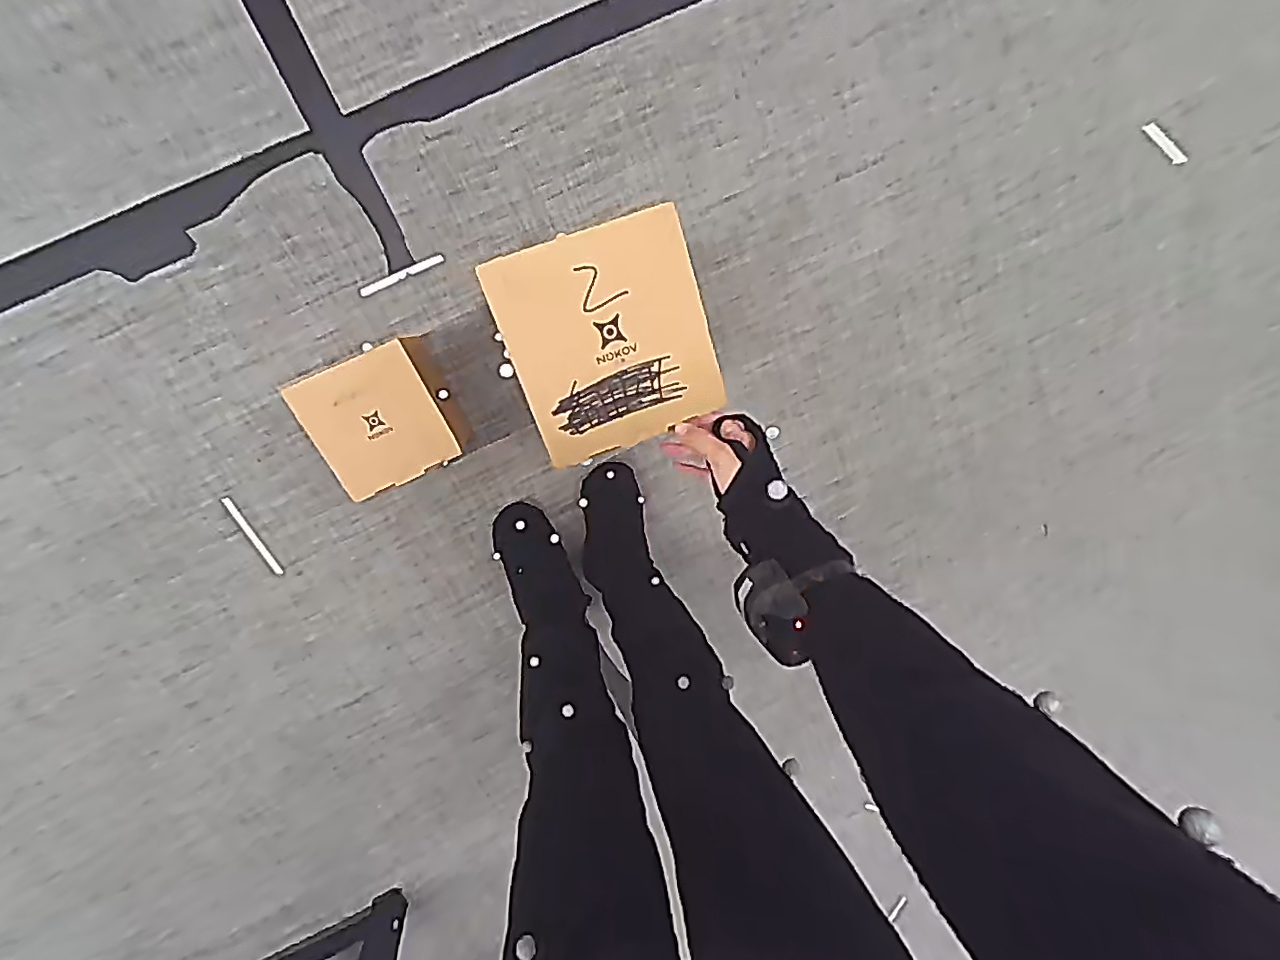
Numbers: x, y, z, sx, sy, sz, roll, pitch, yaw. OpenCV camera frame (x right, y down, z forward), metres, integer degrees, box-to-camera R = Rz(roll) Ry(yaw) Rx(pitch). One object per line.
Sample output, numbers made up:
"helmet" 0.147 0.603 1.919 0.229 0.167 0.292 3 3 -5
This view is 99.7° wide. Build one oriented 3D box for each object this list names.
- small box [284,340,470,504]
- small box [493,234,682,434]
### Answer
"small box" -0.367 -0.095 0.798 0.168 0.176 0.179 -27 109 -5
"small box" -0.067 -0.179 0.666 0.168 0.176 0.179 -22 109 -7
